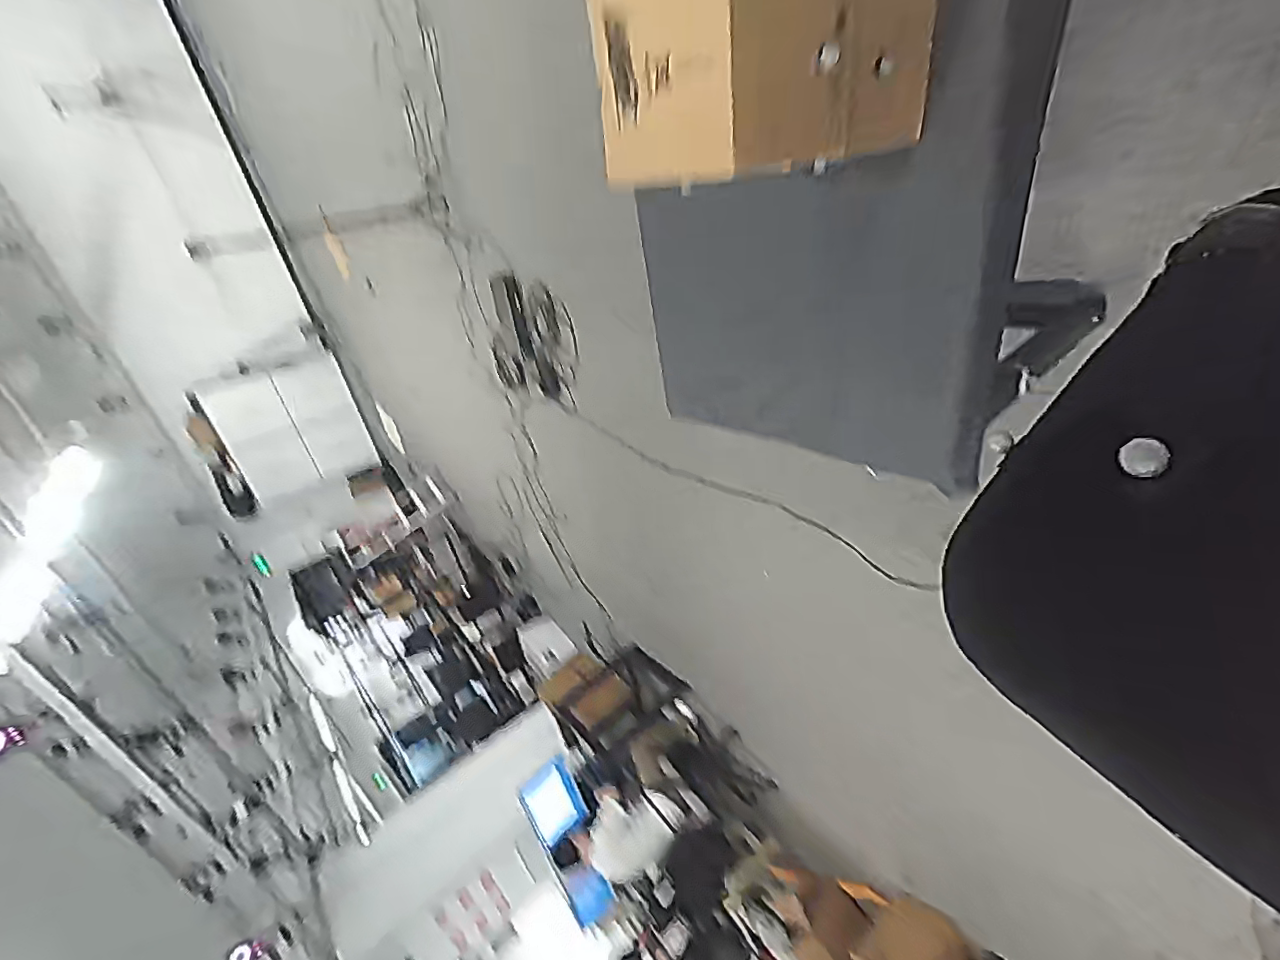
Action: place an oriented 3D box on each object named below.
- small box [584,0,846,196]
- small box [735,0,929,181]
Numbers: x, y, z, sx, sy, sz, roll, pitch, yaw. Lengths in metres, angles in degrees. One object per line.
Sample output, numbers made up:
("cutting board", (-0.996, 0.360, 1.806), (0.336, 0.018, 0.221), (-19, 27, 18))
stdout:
("small box", (0.073, -0.383, 0.524), (0.179, 0.176, 0.168), (27, 135, 48))
("small box", (0.197, -0.451, 0.607), (0.168, 0.176, 0.179), (27, 137, 45))
